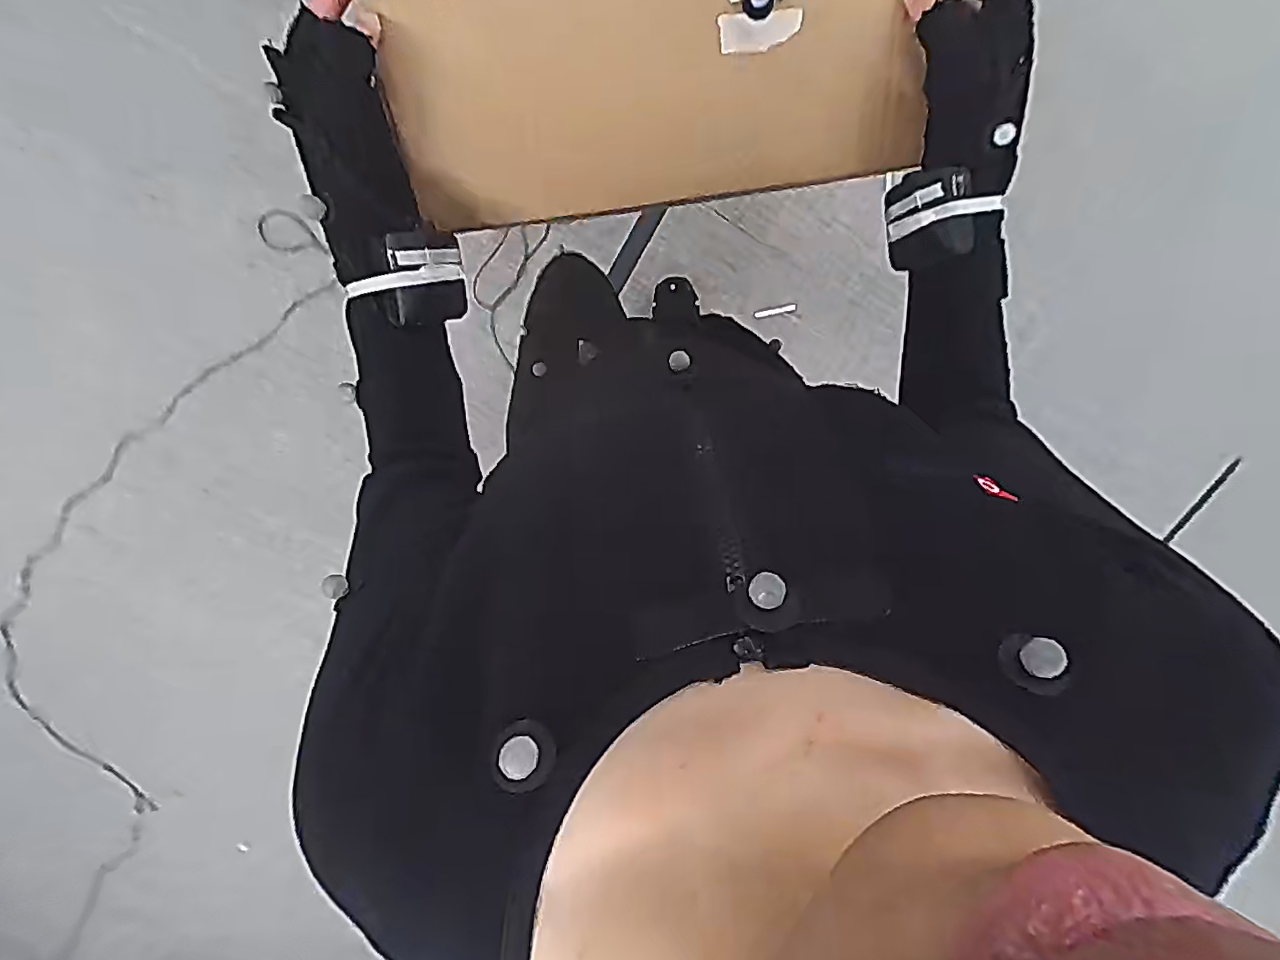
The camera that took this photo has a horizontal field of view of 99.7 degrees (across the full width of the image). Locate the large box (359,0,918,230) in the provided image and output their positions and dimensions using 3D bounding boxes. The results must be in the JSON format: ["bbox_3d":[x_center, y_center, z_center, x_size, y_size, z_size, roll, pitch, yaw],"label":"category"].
[{"bbox_3d":[-0.015,-0.433,0.503,0.408,0.320,0.320,-10,116,-1],"label":"large box"}]
